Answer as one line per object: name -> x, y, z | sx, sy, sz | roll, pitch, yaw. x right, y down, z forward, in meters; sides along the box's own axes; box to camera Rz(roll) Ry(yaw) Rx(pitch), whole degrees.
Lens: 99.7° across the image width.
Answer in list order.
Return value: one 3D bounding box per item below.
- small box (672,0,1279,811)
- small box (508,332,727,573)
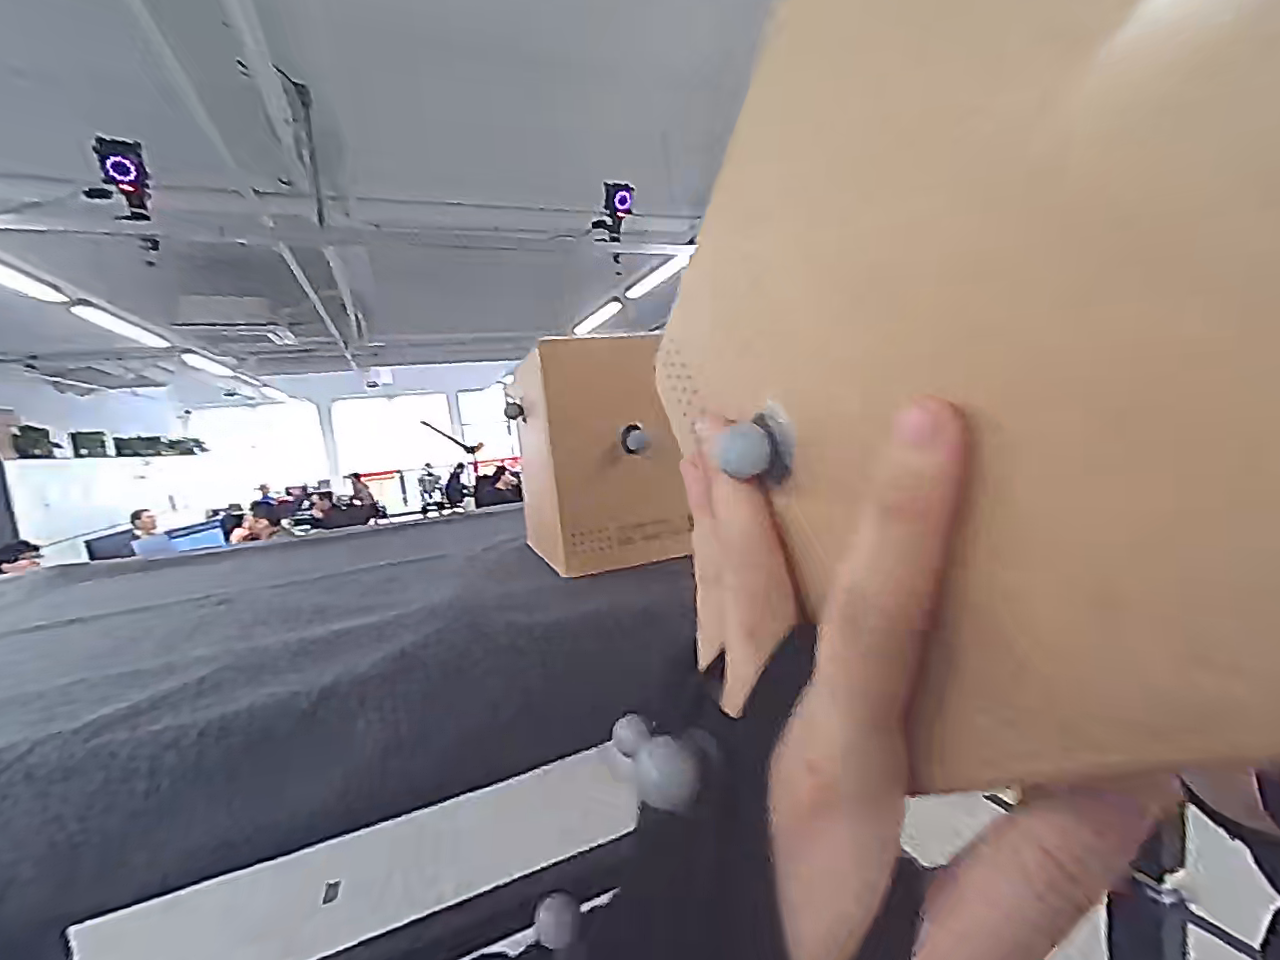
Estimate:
small box -> 0.129, -0.027, 0.150 | 0.179, 0.168, 0.176 | -8, -29, -19
small box -> -0.013, -0.023, 0.469 | 0.168, 0.176, 0.179 | -8, 5, -19
